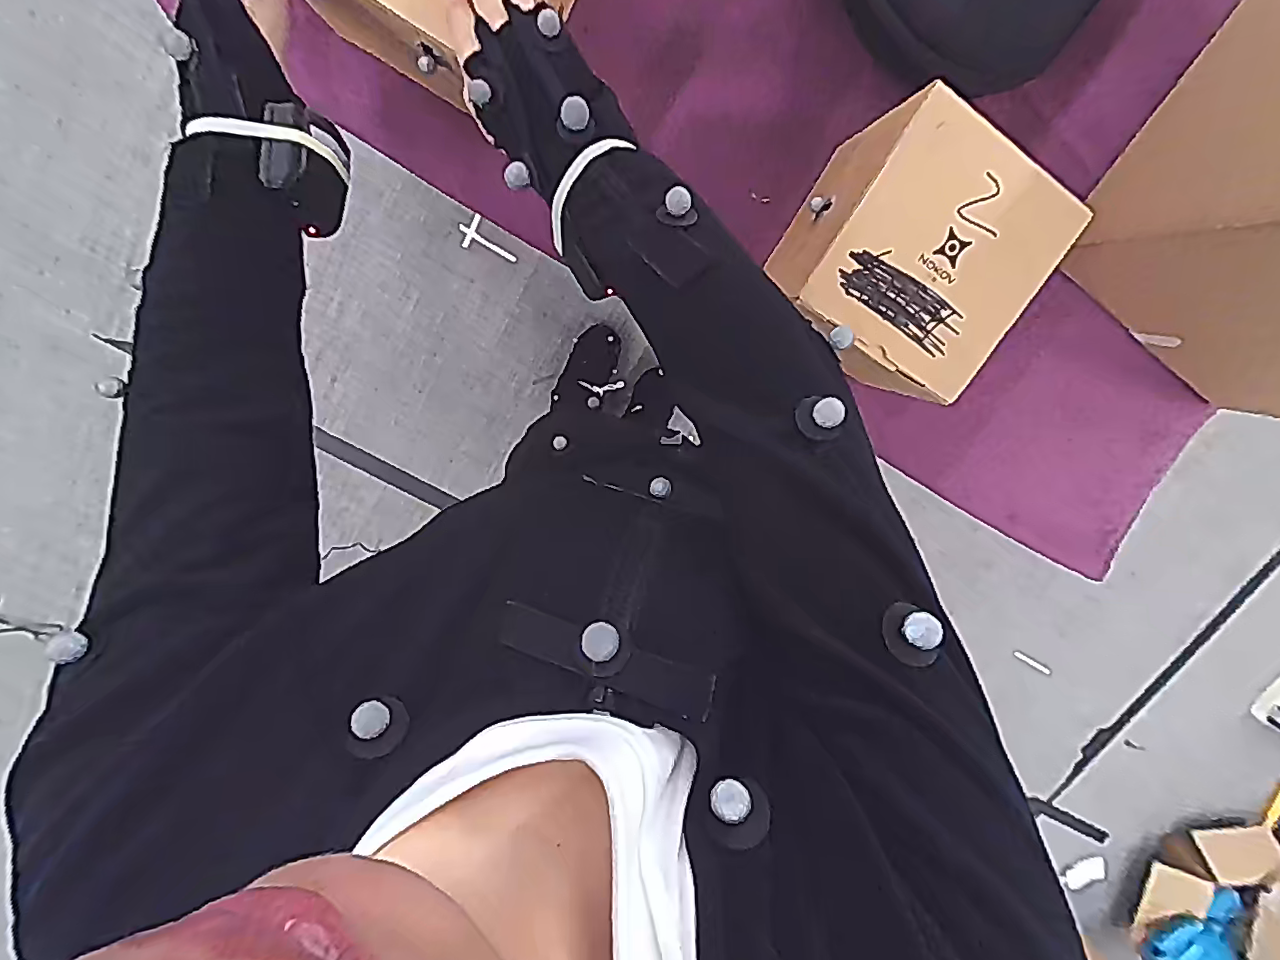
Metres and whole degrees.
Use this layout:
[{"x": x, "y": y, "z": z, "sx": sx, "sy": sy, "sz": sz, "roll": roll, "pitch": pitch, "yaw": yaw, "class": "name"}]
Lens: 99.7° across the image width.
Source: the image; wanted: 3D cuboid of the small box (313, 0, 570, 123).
[{"x": -0.154, "y": -0.408, "z": 0.399, "sx": 0.179, "sy": 0.176, "sz": 0.168, "roll": 26, "pitch": 103, "yaw": -13, "class": "small box"}]
